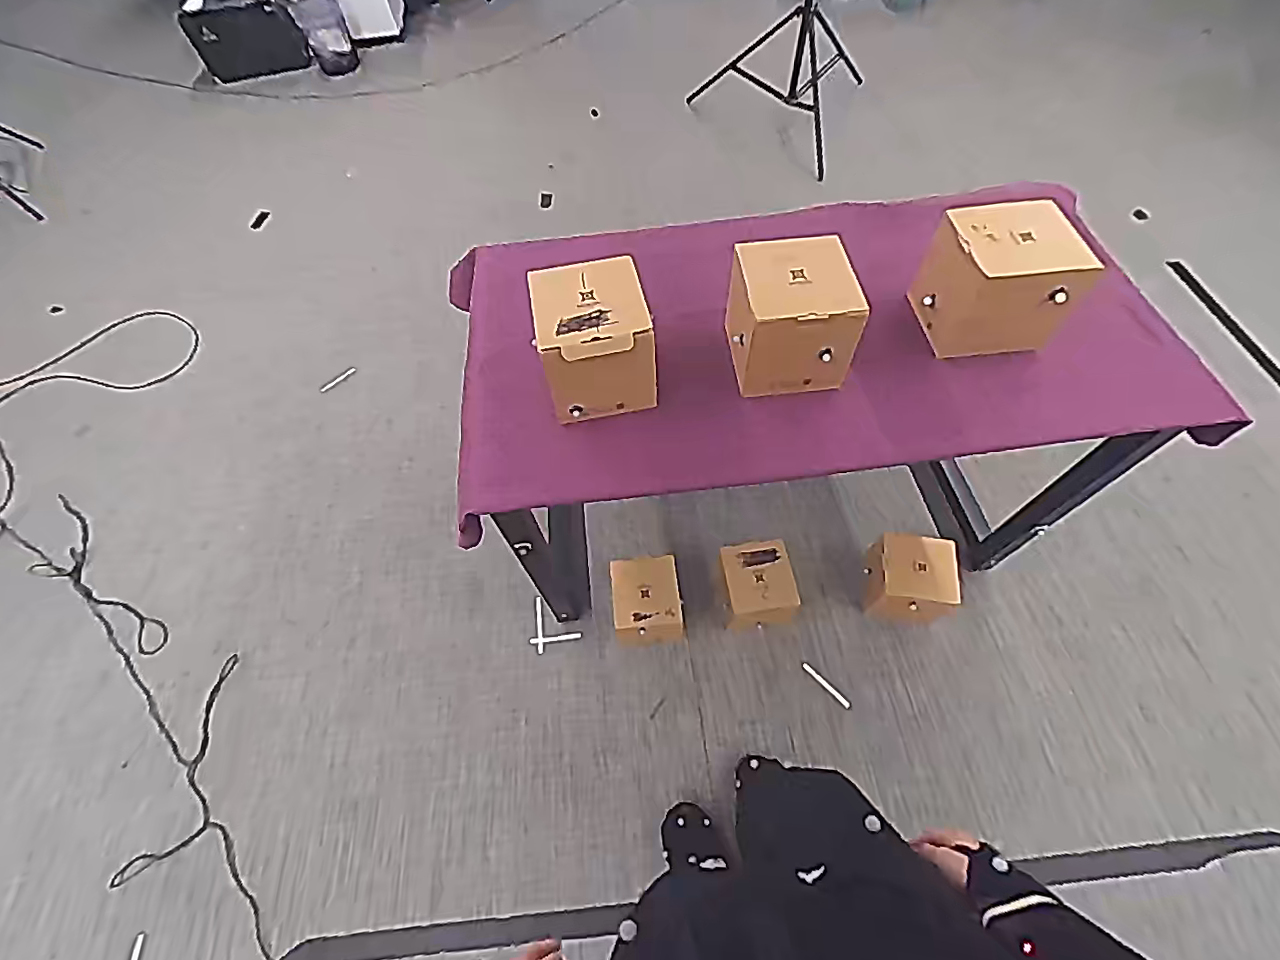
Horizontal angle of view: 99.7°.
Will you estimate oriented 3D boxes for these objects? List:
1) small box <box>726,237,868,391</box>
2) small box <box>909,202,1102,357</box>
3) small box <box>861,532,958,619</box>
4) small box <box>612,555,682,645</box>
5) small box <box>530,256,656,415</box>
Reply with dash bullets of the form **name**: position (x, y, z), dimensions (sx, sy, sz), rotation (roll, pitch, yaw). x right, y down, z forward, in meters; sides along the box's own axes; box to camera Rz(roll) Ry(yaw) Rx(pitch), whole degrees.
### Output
- **small box**: position (0.238, -0.257, 0.868), dimensions (0.168, 0.176, 0.179), rotation (-5, 58, -1)
- **small box**: position (0.580, -0.323, 0.887), dimensions (0.179, 0.176, 0.168), rotation (-5, 59, 0)
- **small box**: position (0.688, 0.252, 1.395), dimensions (0.179, 0.176, 0.168), rotation (7, 61, 8)
- **small box**: position (0.017, 0.312, 1.394), dimensions (0.168, 0.176, 0.179), rotation (-5, 58, 0)
- **small box**: position (-0.071, -0.219, 0.859), dimensions (0.168, 0.176, 0.179), rotation (-11, 58, -4)
